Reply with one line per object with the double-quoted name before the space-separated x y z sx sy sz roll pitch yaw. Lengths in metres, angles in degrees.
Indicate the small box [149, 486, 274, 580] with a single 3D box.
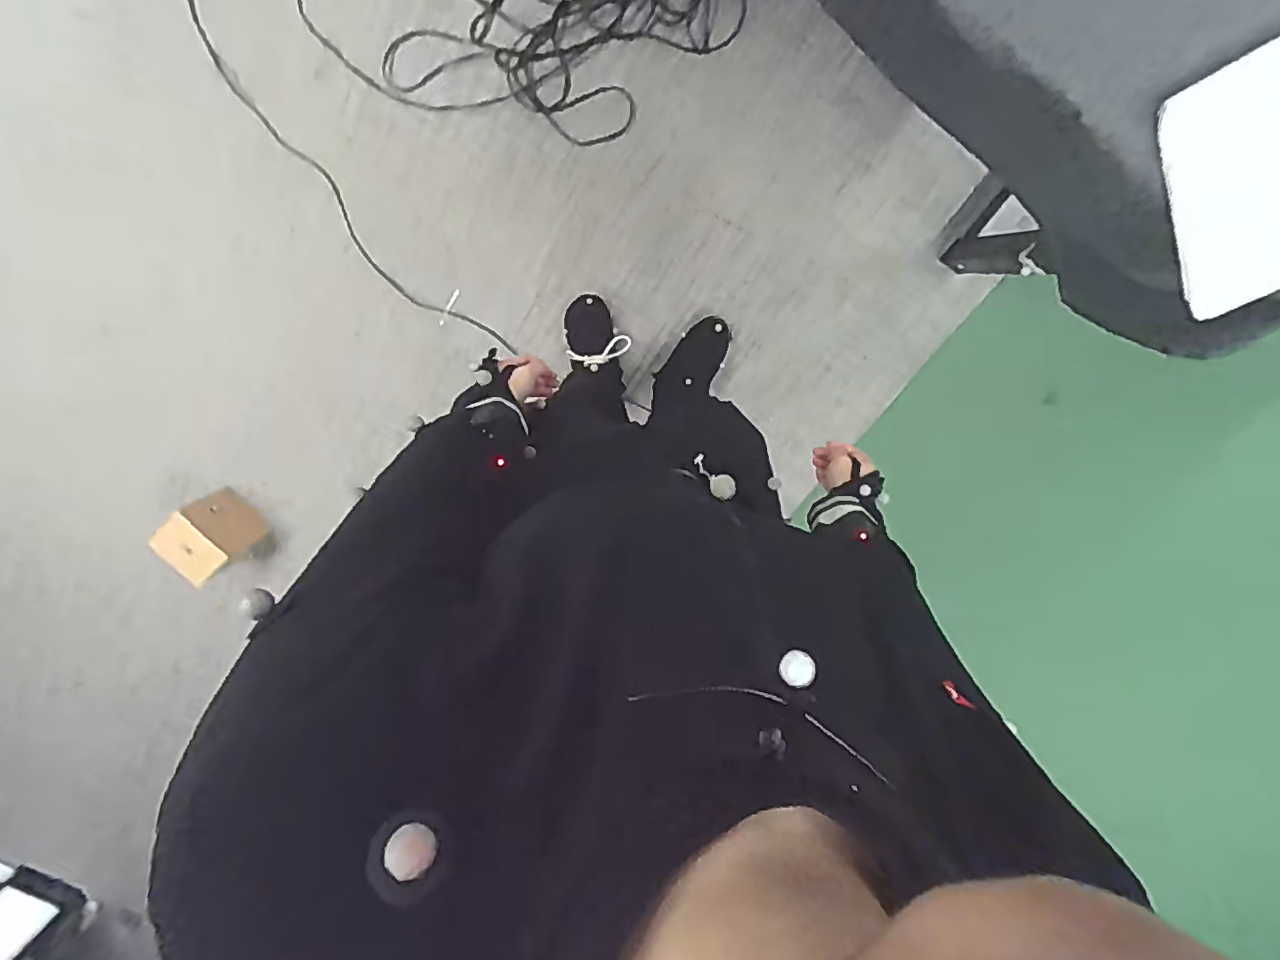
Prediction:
"small box" -1.186 0.138 1.508 0.168 0.176 0.179 -37 105 19
